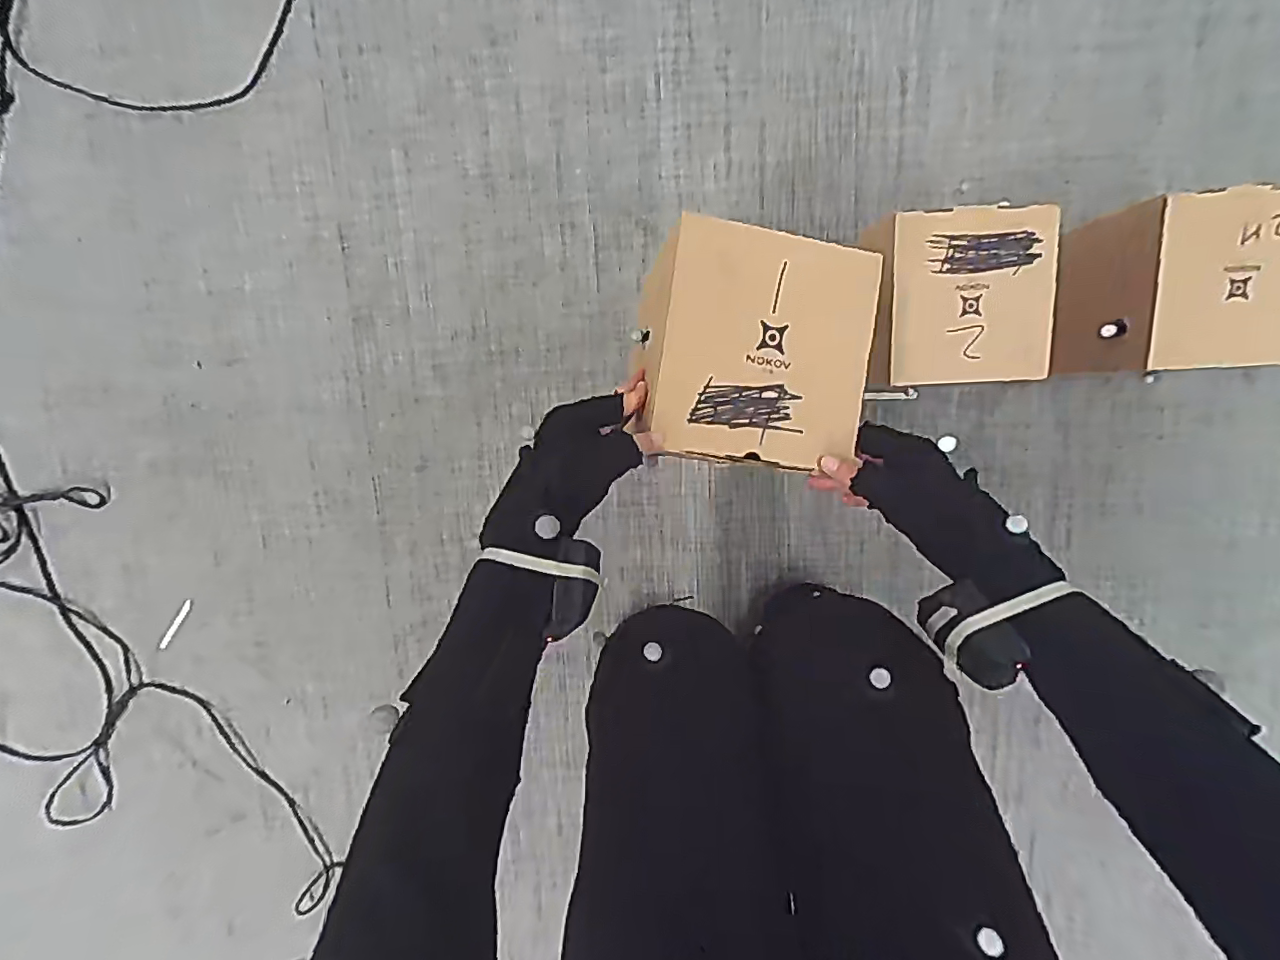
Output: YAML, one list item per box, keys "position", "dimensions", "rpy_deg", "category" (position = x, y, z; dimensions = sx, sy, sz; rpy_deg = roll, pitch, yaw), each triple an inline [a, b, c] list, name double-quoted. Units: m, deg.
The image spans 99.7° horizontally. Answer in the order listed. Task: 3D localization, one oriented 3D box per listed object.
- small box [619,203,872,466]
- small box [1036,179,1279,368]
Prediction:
- position: [0.077, -0.111, 0.489]
  dimensions: [0.168, 0.176, 0.179]
  rpy_deg: [8, 91, -9]
  category: "small box"
- position: [0.596, -0.220, 0.620]
  dimensions: [0.168, 0.176, 0.179]
  rpy_deg: [-2, 99, 2]
  category: "small box"
